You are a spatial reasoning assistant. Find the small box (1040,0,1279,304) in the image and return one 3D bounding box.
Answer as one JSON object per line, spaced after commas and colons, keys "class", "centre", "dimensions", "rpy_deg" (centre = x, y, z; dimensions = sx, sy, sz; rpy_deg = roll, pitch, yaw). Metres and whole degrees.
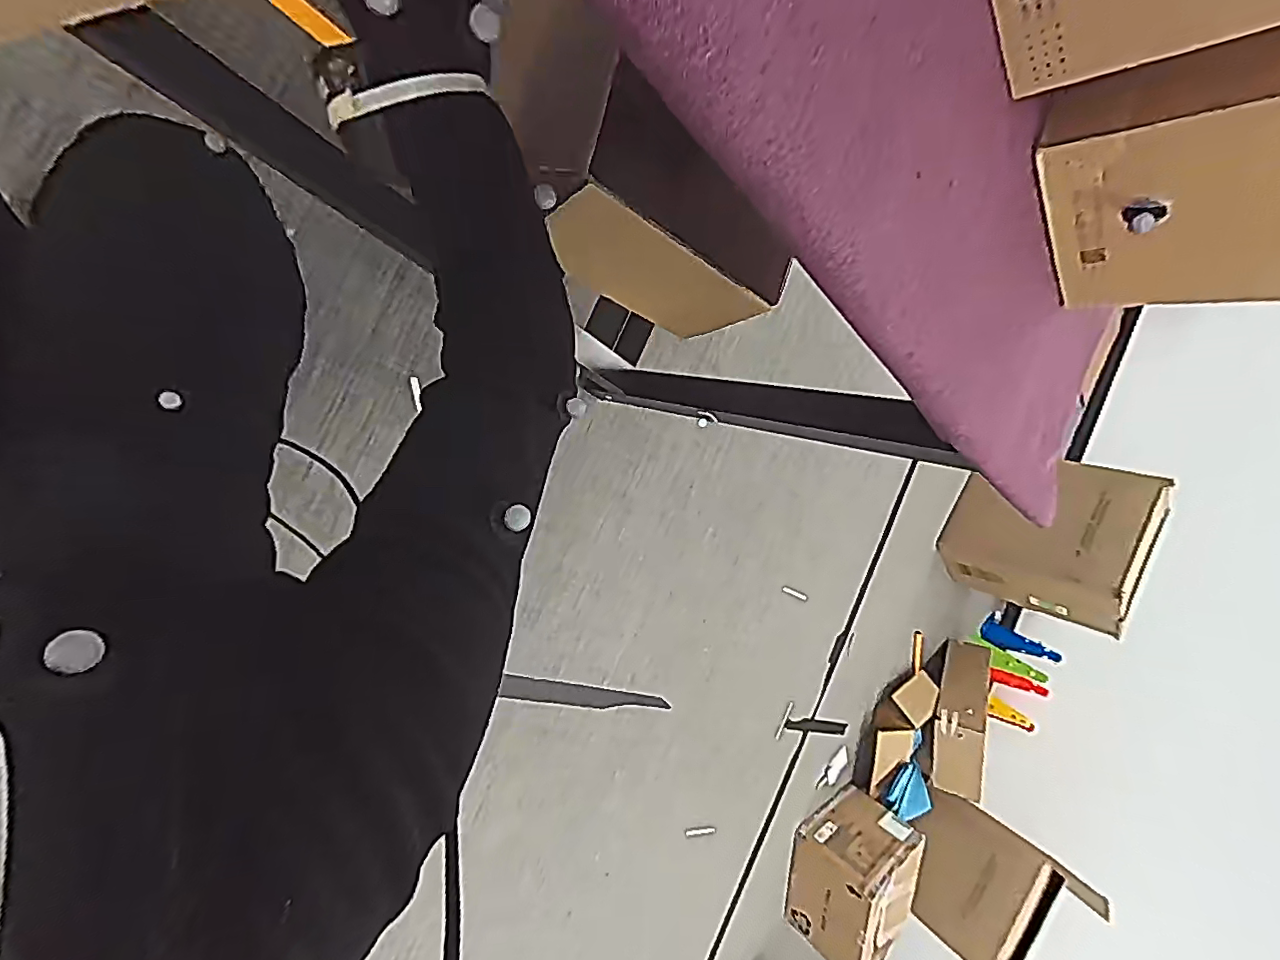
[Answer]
{"class": "small box", "centre": [0.390, -0.236, 0.349], "dimensions": [0.168, 0.176, 0.179], "rpy_deg": [33, 81, -41]}
